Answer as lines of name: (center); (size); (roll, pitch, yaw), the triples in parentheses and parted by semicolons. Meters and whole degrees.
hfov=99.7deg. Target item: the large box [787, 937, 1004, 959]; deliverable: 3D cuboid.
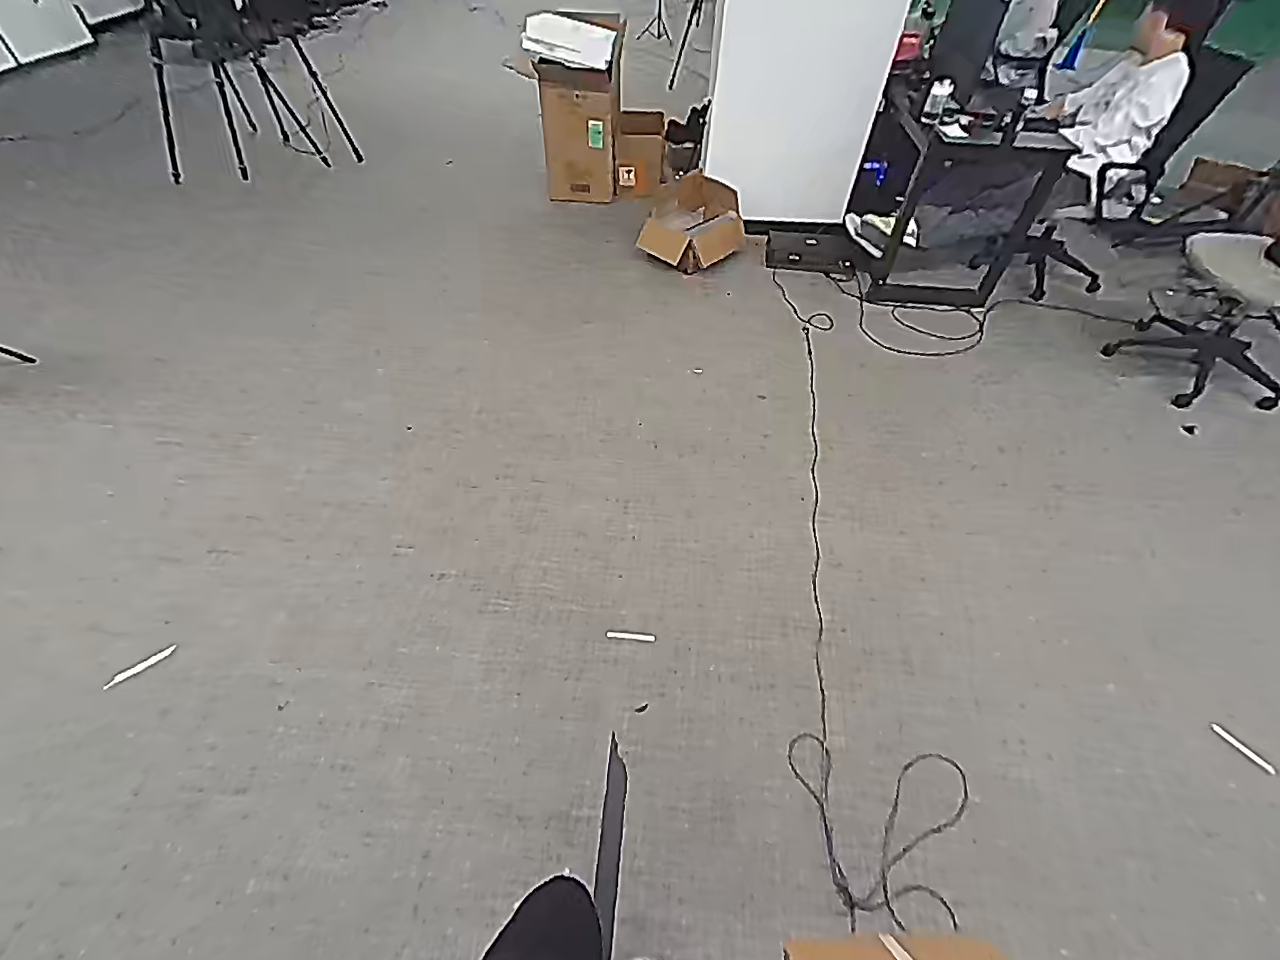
large box: (0.380, 0.795, 0.593); (0.320, 0.408, 0.320); (0, 75, -2)
